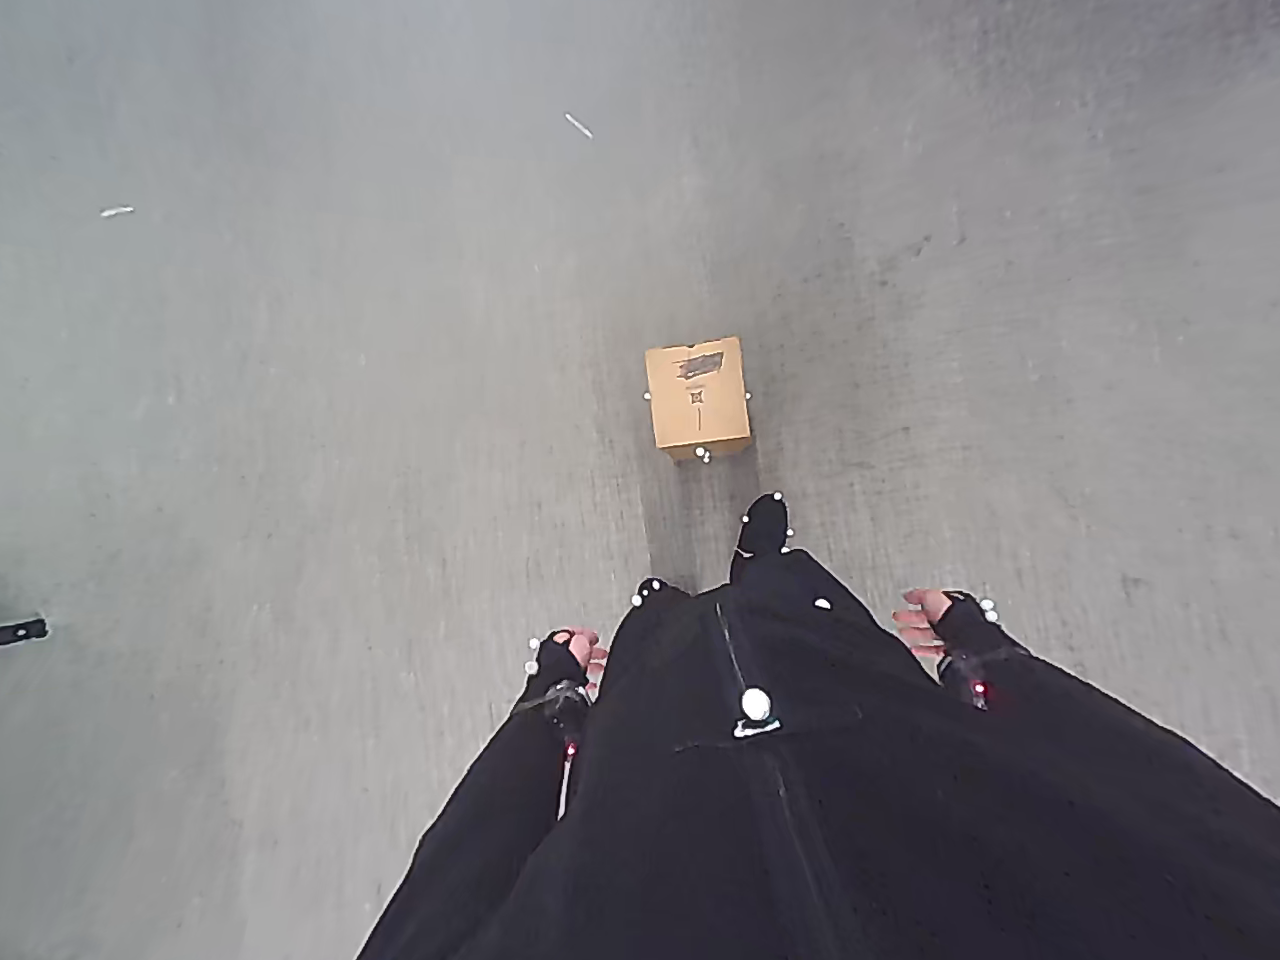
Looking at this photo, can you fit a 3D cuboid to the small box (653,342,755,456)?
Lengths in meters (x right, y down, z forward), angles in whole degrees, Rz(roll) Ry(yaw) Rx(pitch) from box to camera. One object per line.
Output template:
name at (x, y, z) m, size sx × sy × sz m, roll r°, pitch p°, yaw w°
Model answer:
small box at (0.119, -0.144, 1.022) m, size 0.168 × 0.176 × 0.179 m, roll -7°, pitch 89°, yaw 8°

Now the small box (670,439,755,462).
small box at (0.149, -0.133, 1.184) m, size 0.179 × 0.176 × 0.168 m, roll -7°, pitch 88°, yaw 6°
